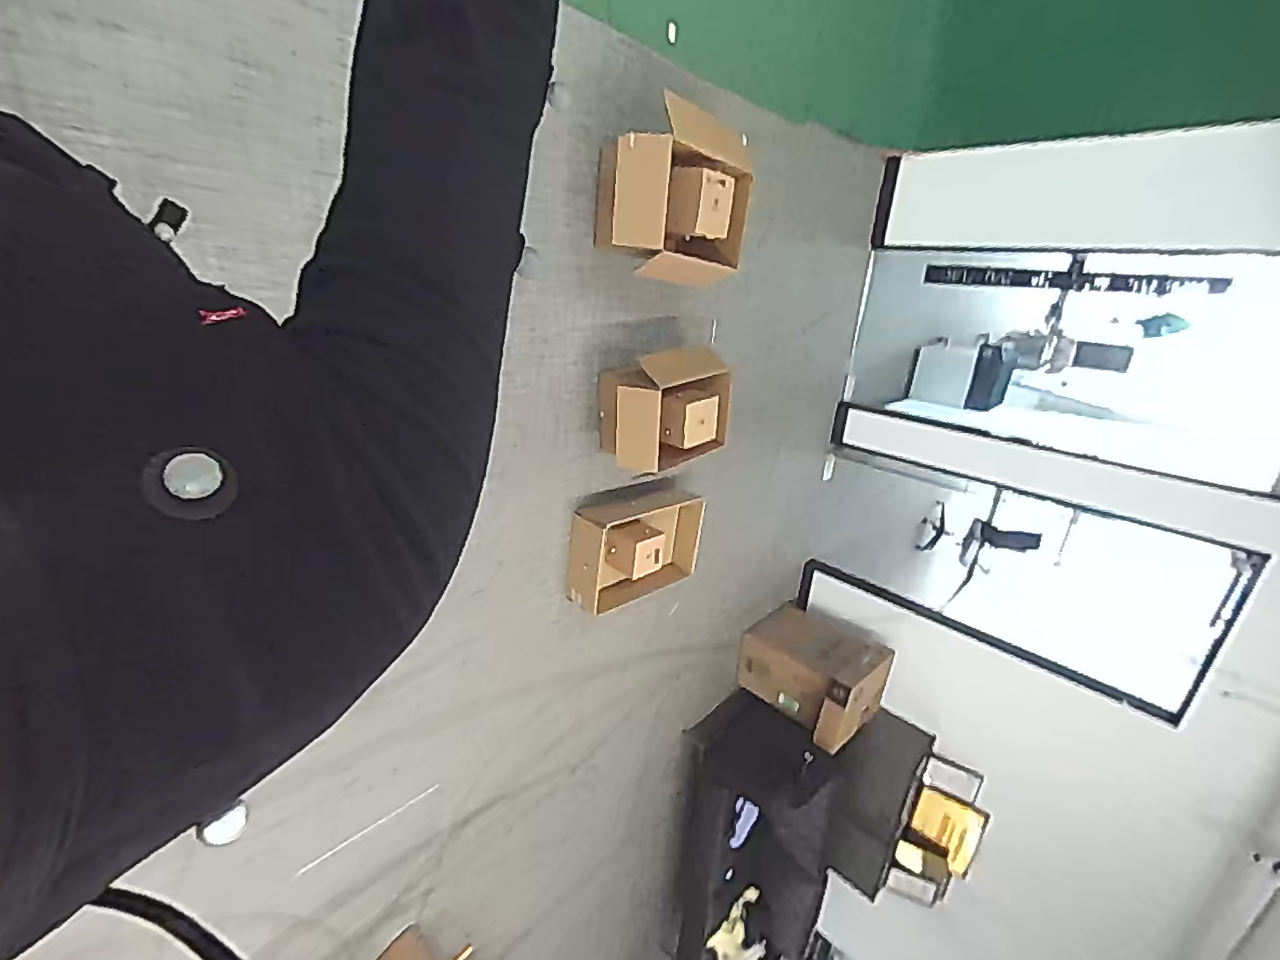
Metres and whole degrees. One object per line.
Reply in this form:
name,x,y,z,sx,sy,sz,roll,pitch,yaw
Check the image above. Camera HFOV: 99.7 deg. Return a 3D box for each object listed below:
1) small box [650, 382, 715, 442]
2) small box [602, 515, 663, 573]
small box,0.152,-0.253,1.984,0.179,0.176,0.168,-21,124,-39
small box,-0.033,0.257,2.233,0.179,0.176,0.168,-14,119,-45
